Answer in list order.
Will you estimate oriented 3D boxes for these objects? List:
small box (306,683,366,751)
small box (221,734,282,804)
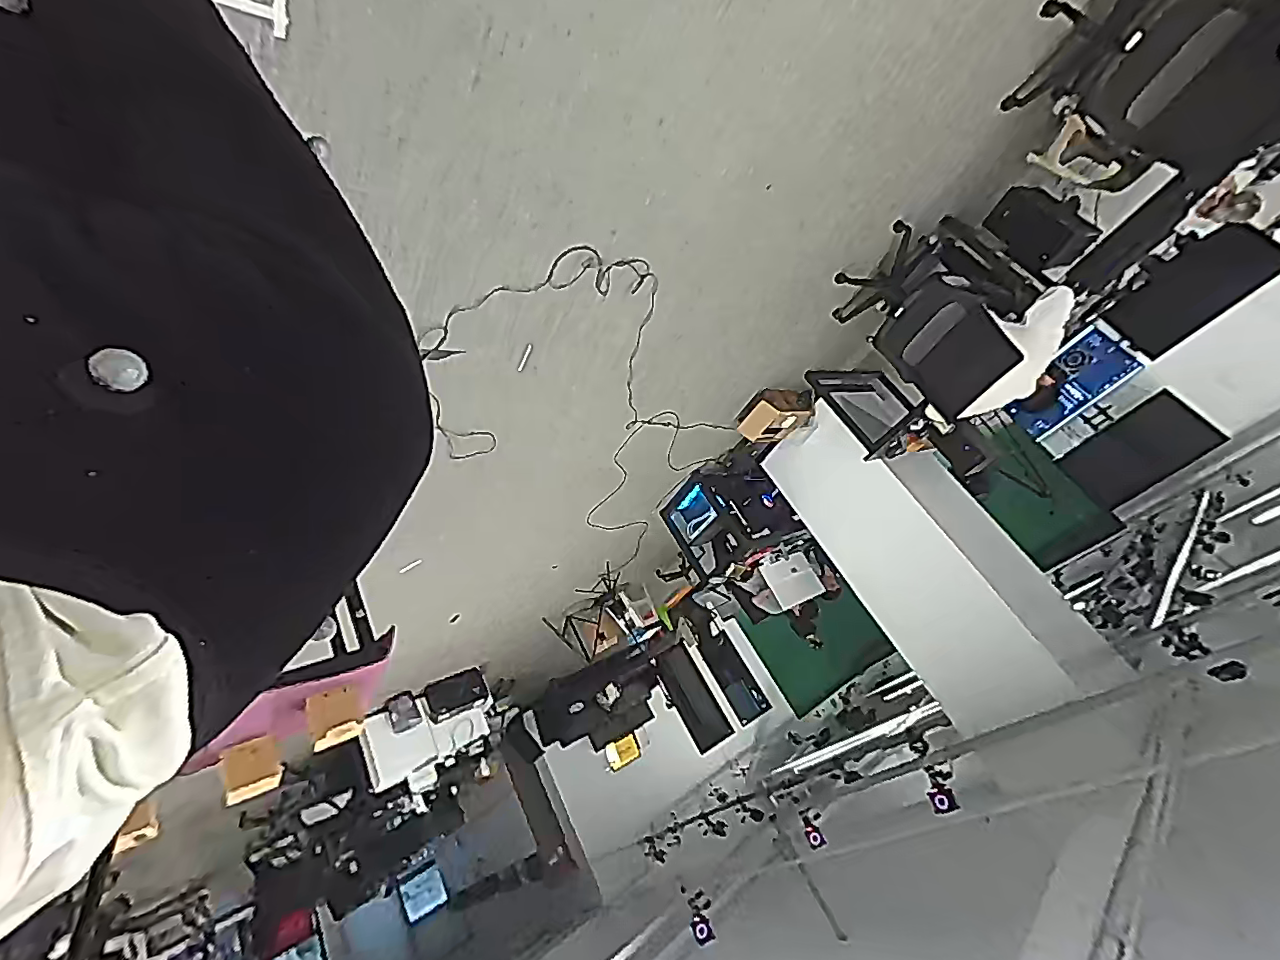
[{"bbox_3d":[-1.182,0.910,2.093,0.168,0.176,0.179,-10,150,-40],"label":"small box"},{"bbox_3d":[-1.511,1.117,2.097,0.168,0.176,0.179,-7,146,-43],"label":"small box"}]
